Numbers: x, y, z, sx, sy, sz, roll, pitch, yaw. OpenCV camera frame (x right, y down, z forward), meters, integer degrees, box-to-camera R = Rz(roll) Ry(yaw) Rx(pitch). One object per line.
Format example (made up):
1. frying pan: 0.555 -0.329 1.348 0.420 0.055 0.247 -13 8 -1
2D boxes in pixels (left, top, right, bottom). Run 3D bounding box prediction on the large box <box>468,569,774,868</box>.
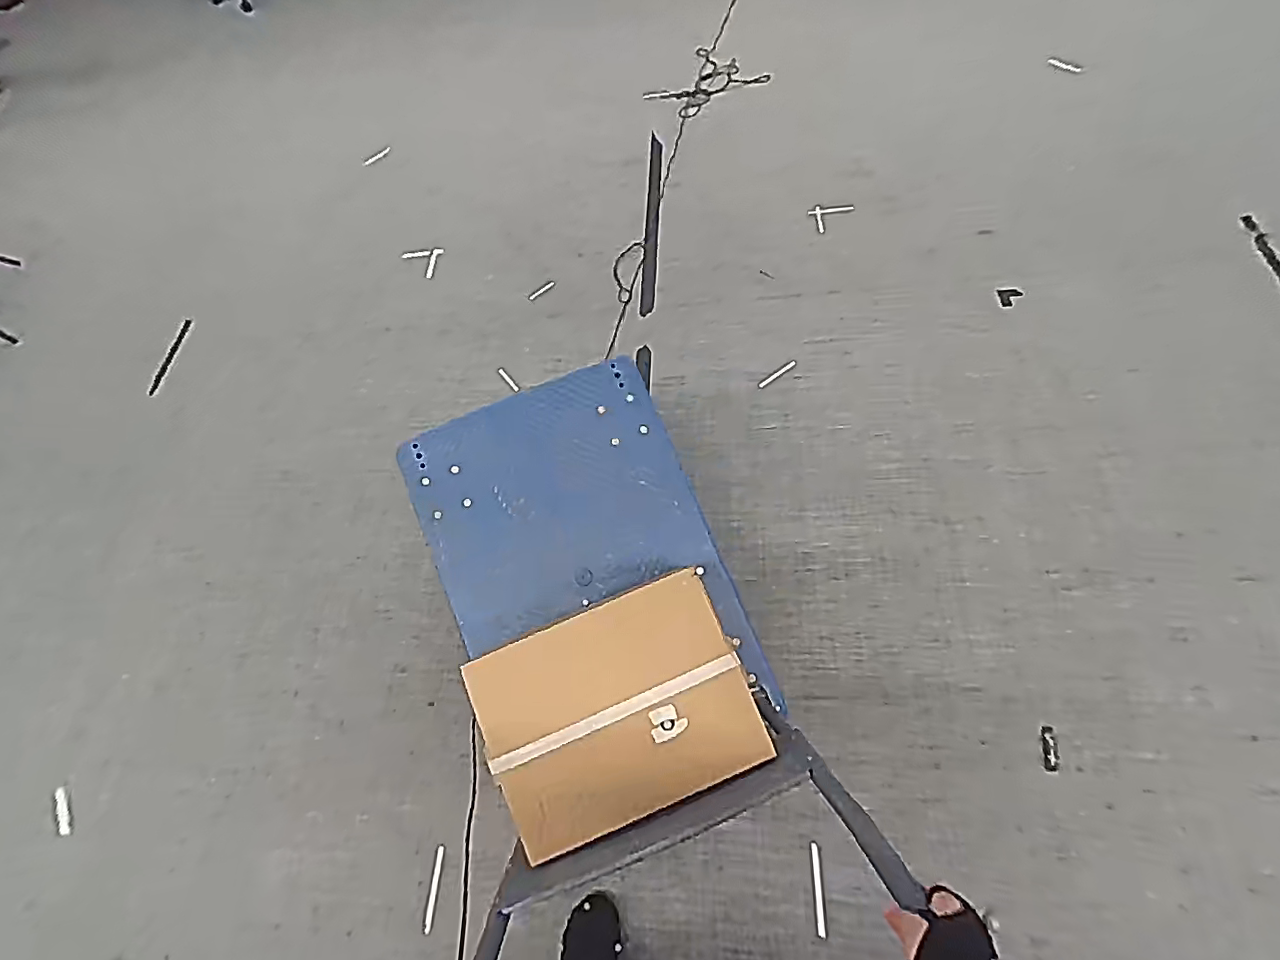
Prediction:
1. large box: -0.034 0.388 0.985 0.408 0.320 0.320 -24 82 -4
